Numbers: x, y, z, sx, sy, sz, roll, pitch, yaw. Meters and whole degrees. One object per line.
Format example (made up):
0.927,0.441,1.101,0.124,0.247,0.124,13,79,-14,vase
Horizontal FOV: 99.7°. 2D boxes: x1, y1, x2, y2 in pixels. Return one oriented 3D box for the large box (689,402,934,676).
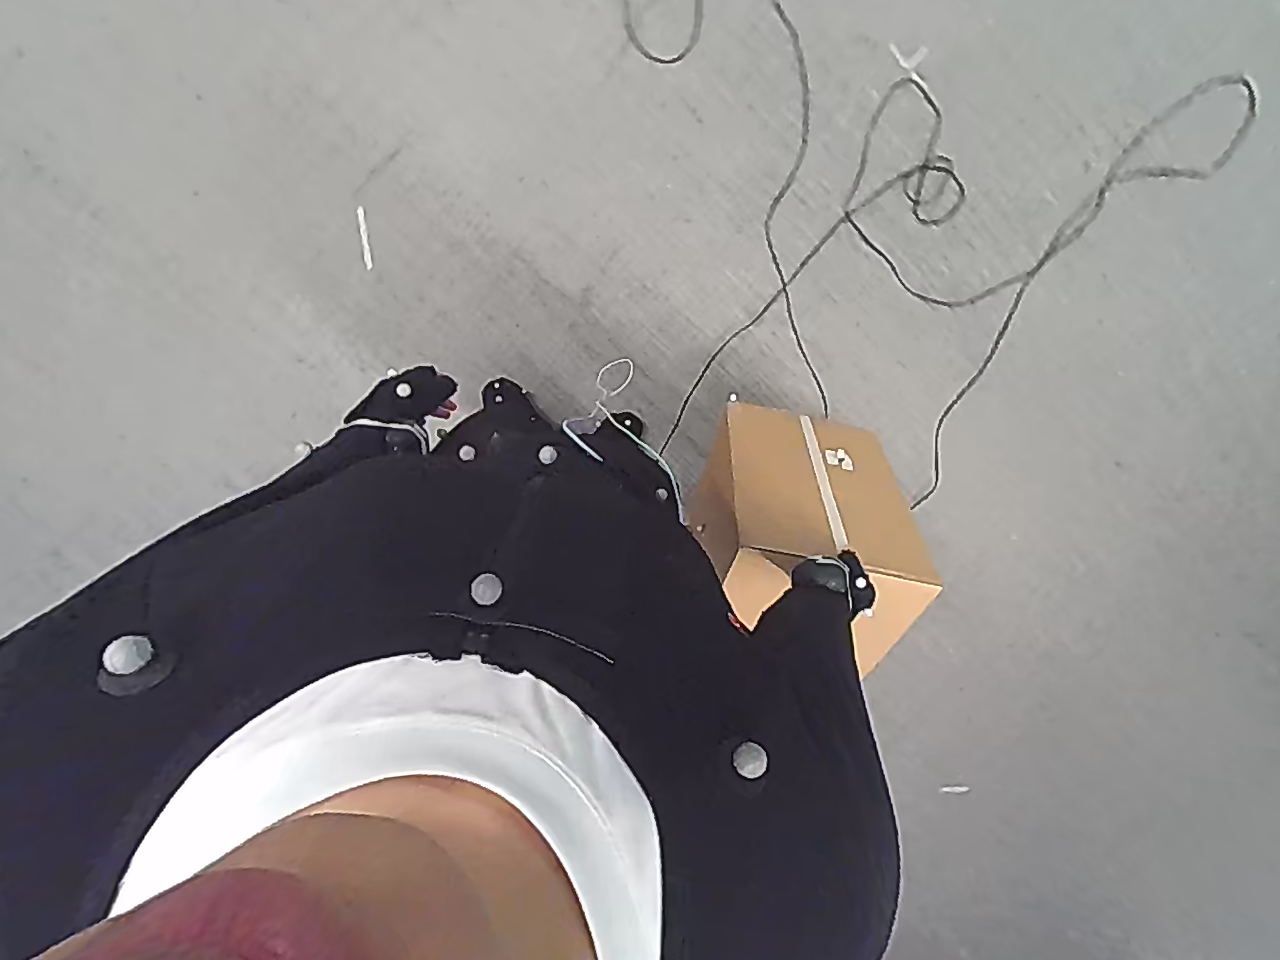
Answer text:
0.278,0.105,1.040,0.320,0.408,0.320,11,129,-4,large box
